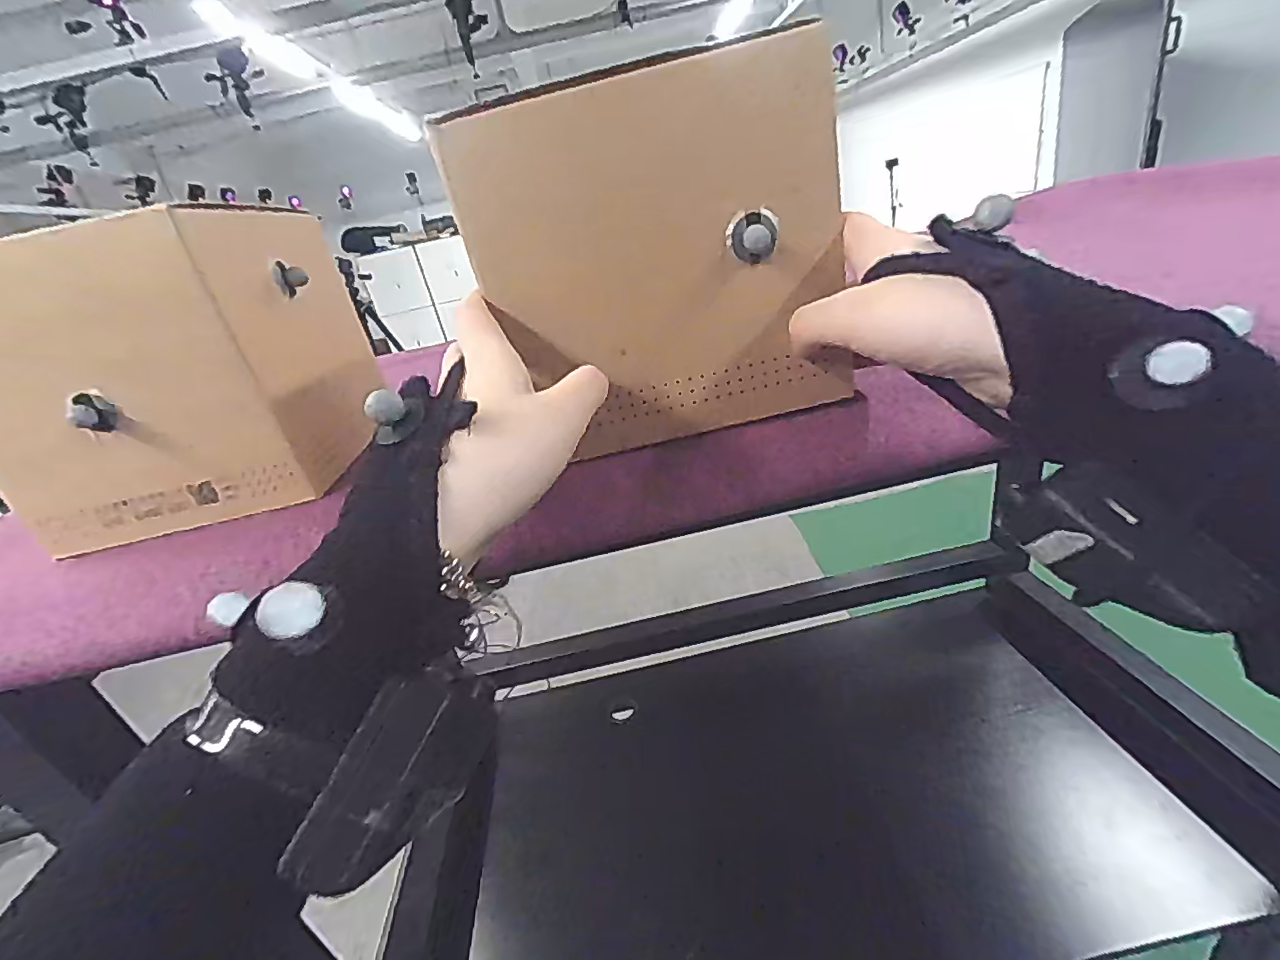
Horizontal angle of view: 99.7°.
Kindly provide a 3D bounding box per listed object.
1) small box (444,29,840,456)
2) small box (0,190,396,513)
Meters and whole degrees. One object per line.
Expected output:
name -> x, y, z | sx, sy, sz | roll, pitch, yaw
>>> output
small box -> 0.011, -0.132, 0.336 | 0.179, 0.176, 0.168 | -13, 24, 2
small box -> -0.296, -0.088, 0.377 | 0.168, 0.176, 0.179 | -12, 26, -2
